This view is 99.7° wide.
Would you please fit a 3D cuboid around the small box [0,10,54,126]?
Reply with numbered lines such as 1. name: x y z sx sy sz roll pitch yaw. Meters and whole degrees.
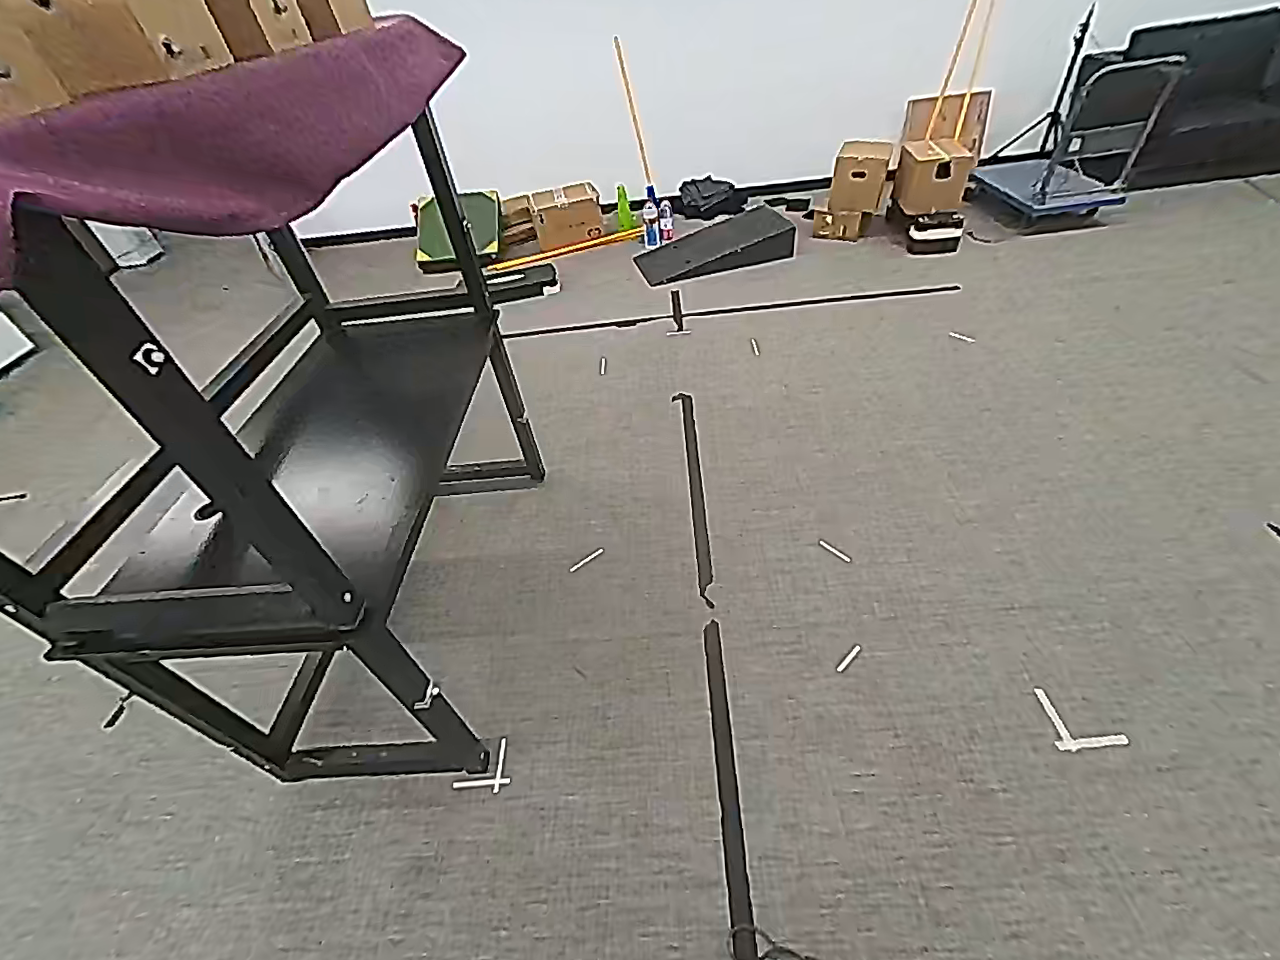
1. small box: -0.711 -0.405 0.486 0.168 0.176 0.179 -12 42 -3

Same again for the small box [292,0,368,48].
1. small box: -0.679 -0.982 1.084 0.168 0.176 0.179 -4 45 6

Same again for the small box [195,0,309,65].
1. small box: -0.693 -0.787 0.881 0.179 0.176 0.168 -6 44 3

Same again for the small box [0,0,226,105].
1. small box: -0.694 -0.606 0.694 0.179 0.176 0.168 -7 43 3
